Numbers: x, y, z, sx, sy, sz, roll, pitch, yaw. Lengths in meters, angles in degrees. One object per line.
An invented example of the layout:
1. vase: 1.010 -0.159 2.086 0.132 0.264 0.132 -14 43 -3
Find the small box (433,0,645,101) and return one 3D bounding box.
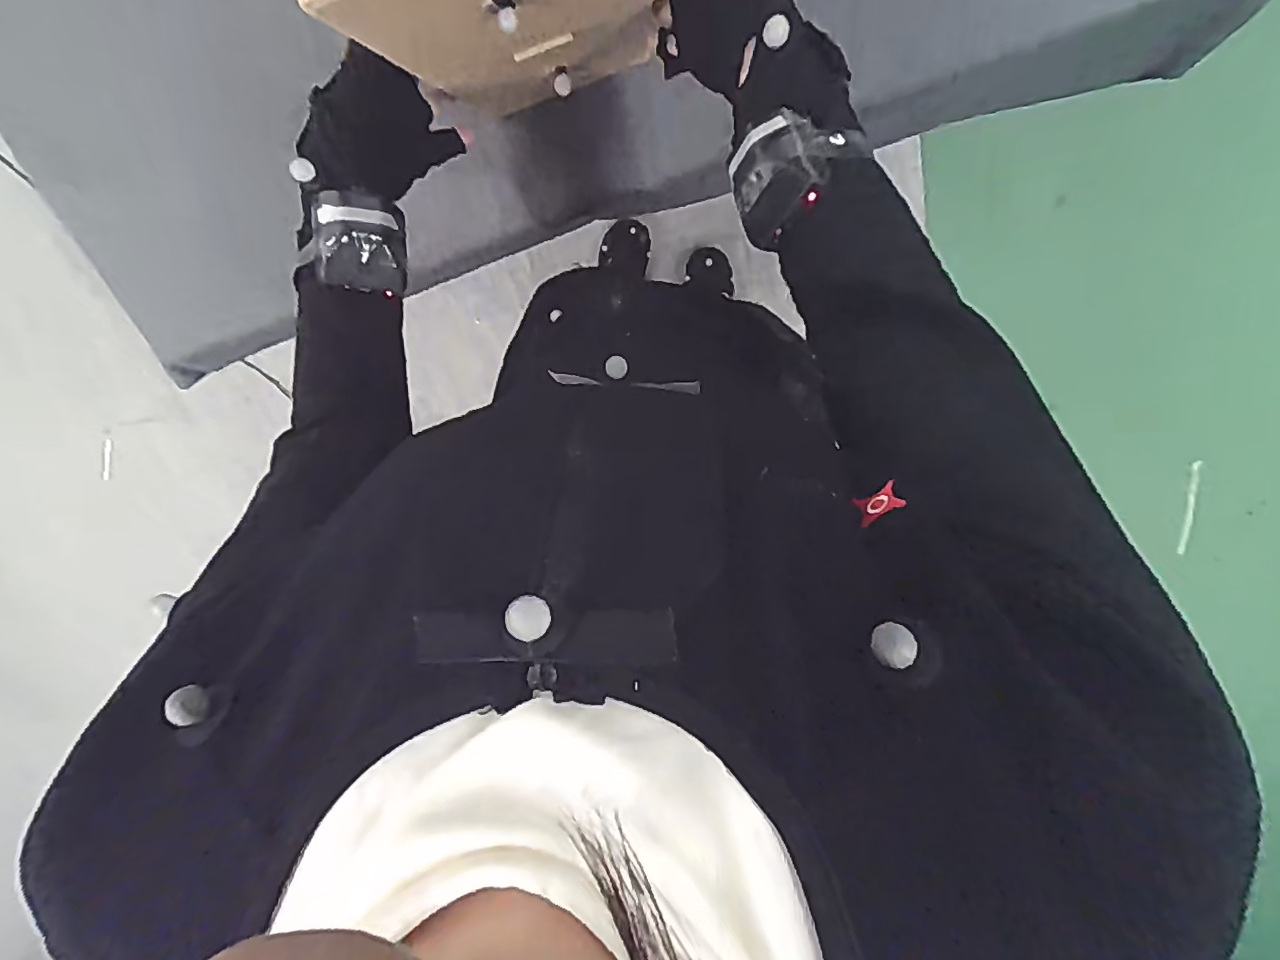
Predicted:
1. small box: -0.096 -0.418 0.414 0.168 0.176 0.179 -15 116 9

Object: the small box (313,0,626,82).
1. small box: -0.090 -0.338 0.270 0.179 0.176 0.168 -18 115 8
